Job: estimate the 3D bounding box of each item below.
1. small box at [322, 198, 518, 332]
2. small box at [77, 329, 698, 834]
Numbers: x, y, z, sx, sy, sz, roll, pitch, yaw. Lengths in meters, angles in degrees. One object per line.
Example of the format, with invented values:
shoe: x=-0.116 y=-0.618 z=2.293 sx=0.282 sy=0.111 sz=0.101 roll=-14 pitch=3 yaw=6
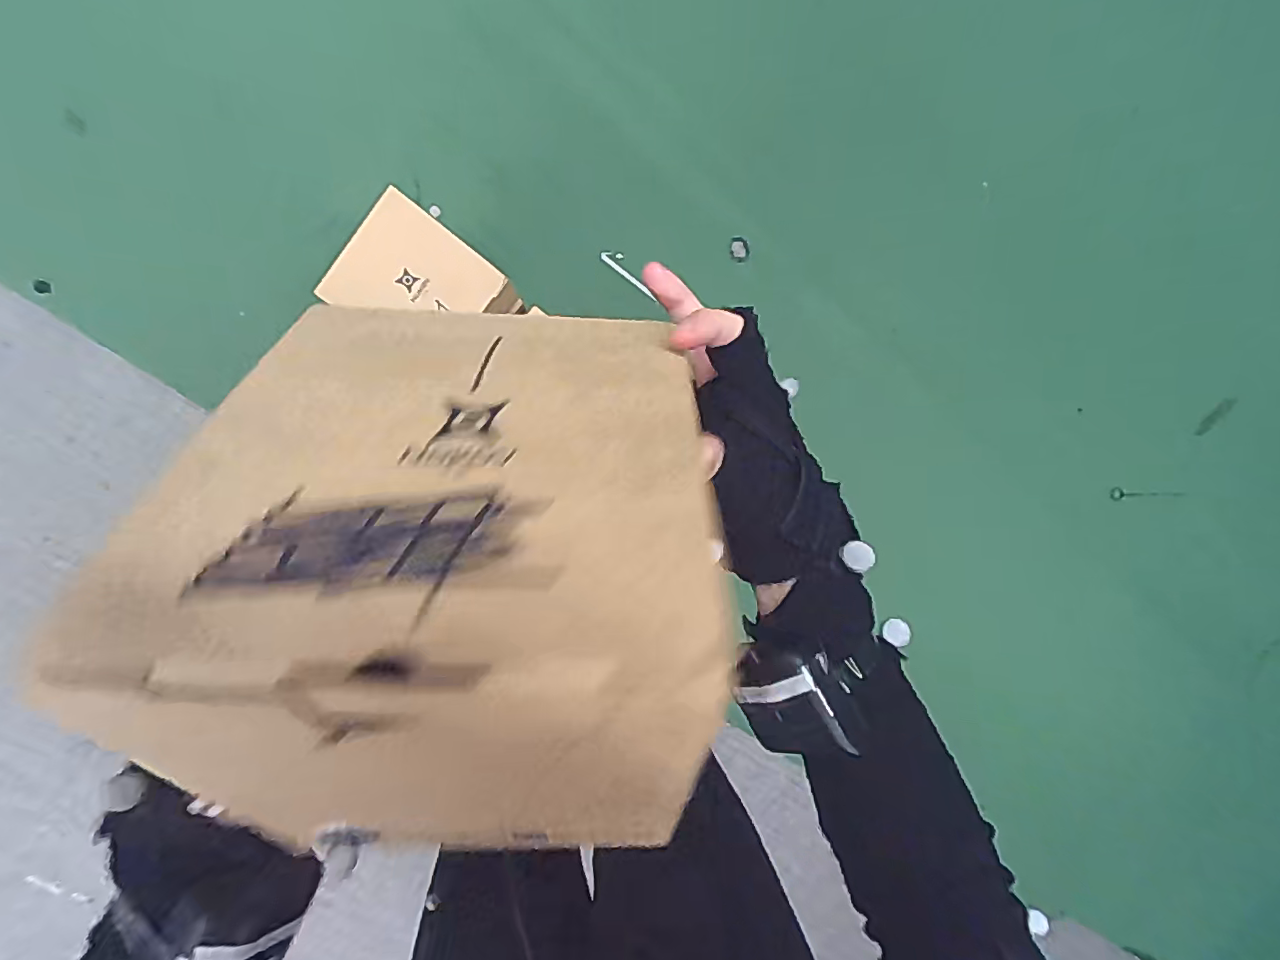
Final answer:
small box: x=-0.293 y=-0.247 z=0.763 sx=0.179 sy=0.176 sz=0.168 roll=37 pitch=93 yaw=-13
small box: x=-0.063 y=0.051 z=0.252 sx=0.168 sy=0.179 sz=0.176 roll=2 pitch=139 yaw=0
